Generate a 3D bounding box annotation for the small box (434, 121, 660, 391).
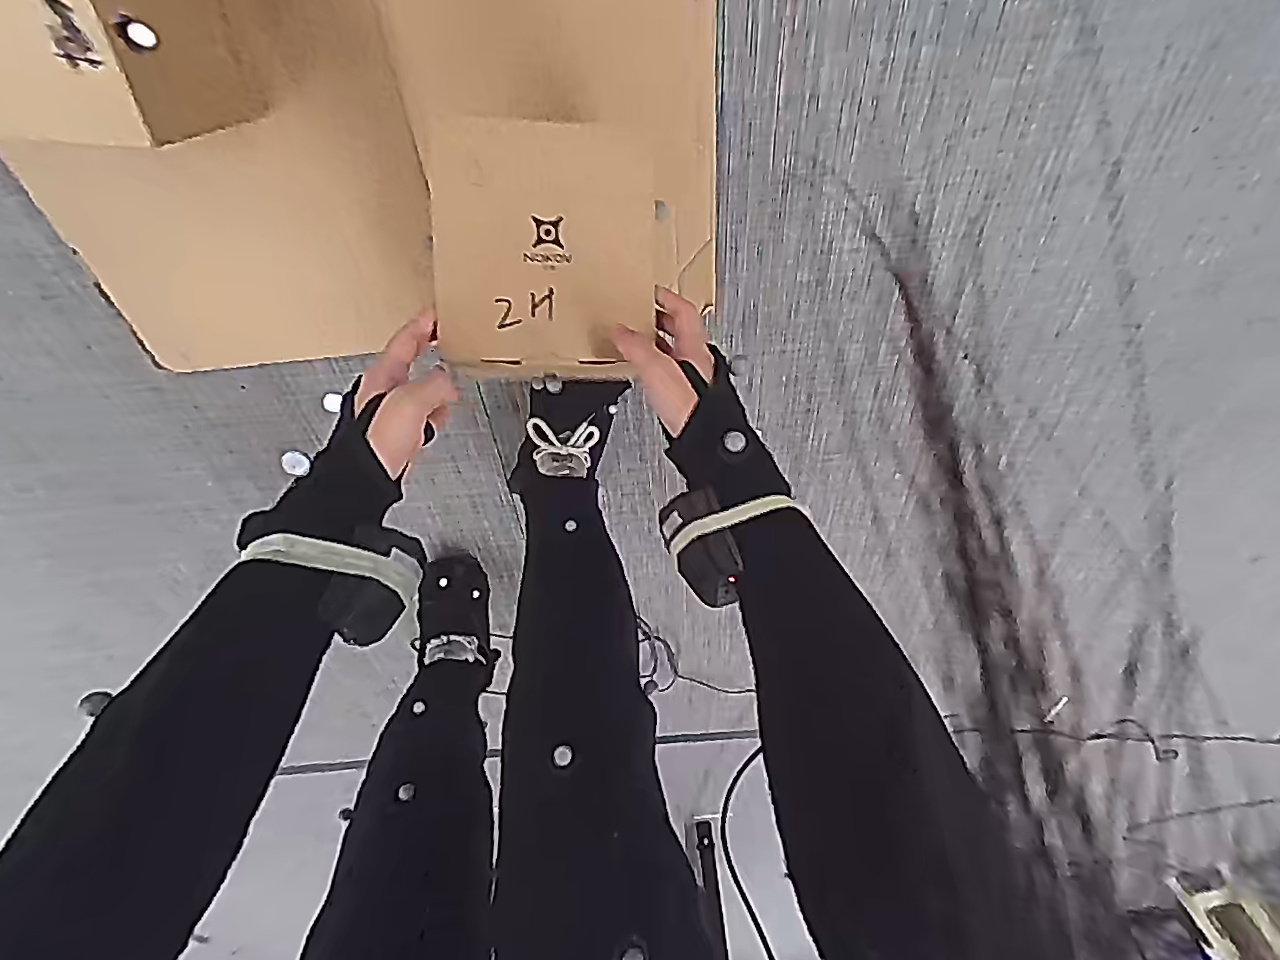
[{"bbox_3d":[-0.078,-0.176,0.480,0.168,0.176,0.179,-2,94,-8],"label":"small box"}]
